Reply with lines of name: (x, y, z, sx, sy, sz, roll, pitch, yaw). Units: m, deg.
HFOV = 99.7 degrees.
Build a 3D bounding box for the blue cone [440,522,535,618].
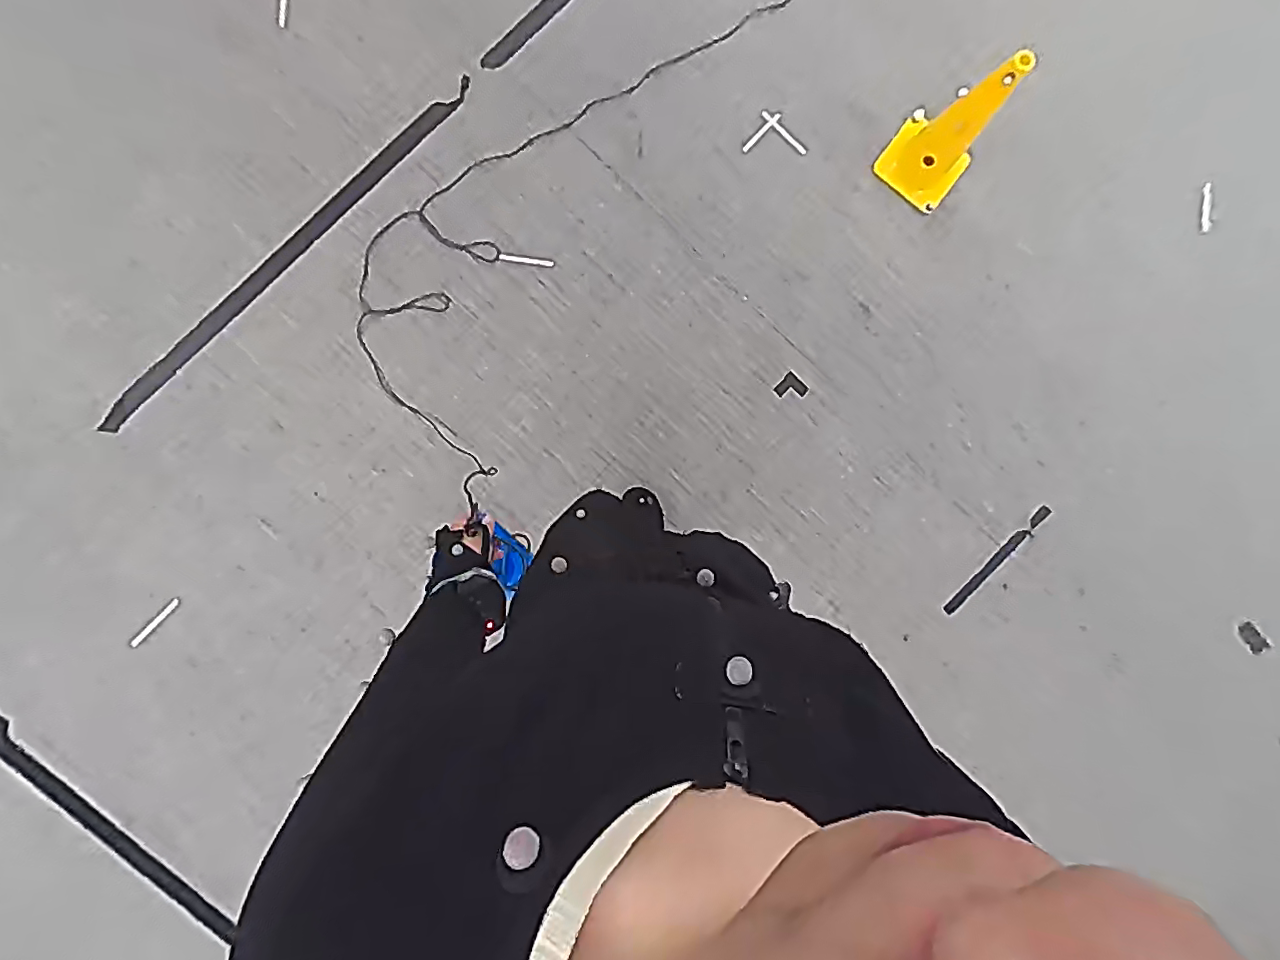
blue cone: (-0.368, 0.224, 1.182, 0.192, 0.380, 0.193, 45, 87, -4)
